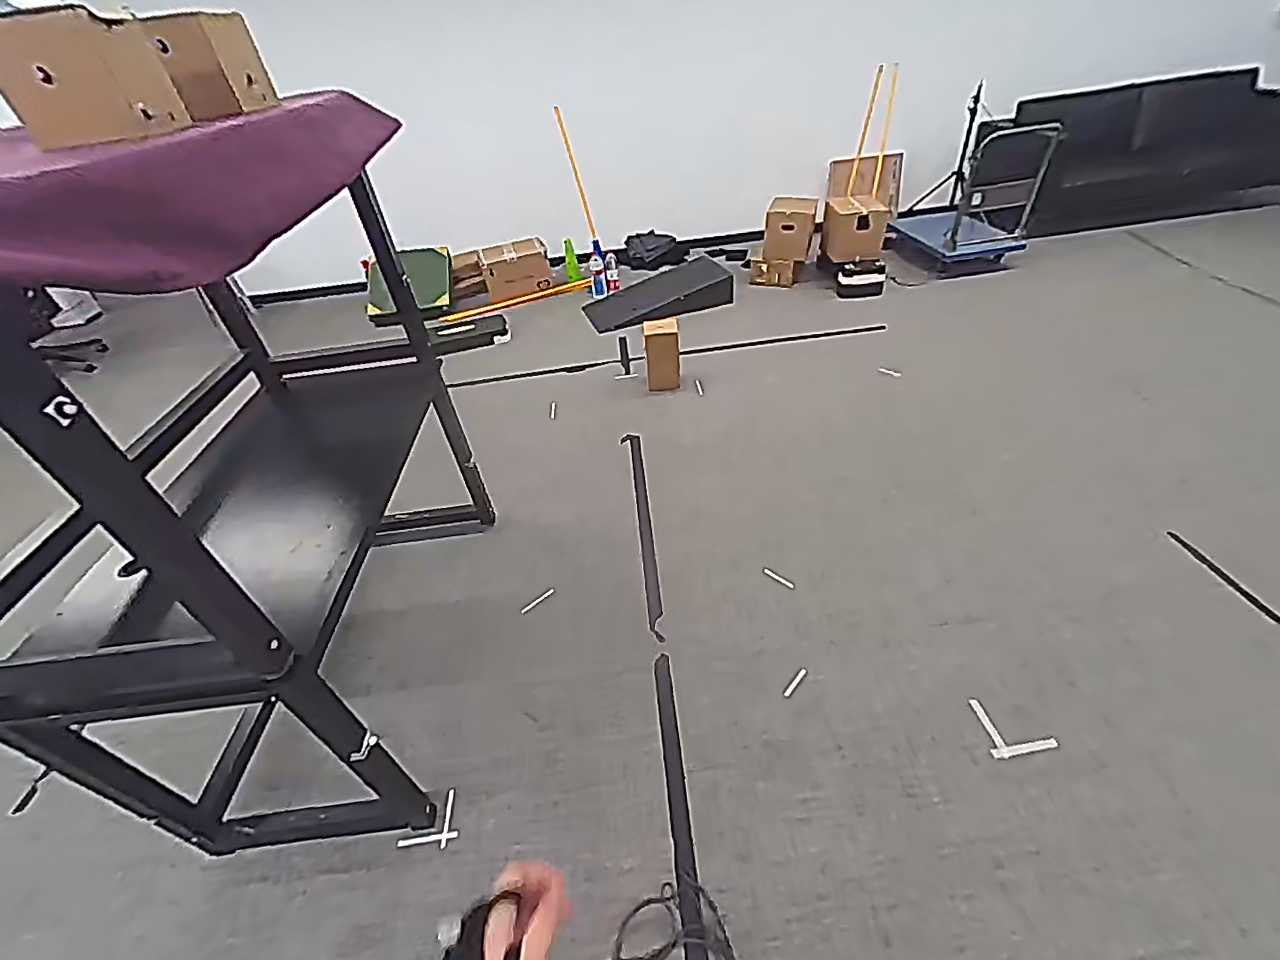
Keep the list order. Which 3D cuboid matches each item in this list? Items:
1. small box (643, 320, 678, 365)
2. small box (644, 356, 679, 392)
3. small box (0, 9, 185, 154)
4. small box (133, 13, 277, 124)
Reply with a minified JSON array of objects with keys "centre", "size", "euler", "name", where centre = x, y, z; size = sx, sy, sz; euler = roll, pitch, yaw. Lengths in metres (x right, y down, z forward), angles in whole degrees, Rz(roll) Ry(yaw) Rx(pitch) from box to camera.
[{"centre":[0.108,-0.724,2.856],"size":[0.179,0.176,0.168],"euler":[-5,39,3],"name":"small box"},{"centre":[0.117,-0.600,2.962],"size":[0.179,0.176,0.168],"euler":[-6,40,0],"name":"small box"},{"centre":[-0.925,-0.662,0.901],"size":[0.179,0.176,0.168],"euler":[-11,39,-3],"name":"small box"},{"centre":[-0.936,-0.875,1.156],"size":[0.179,0.176,0.168],"euler":[-5,40,3],"name":"small box"}]
